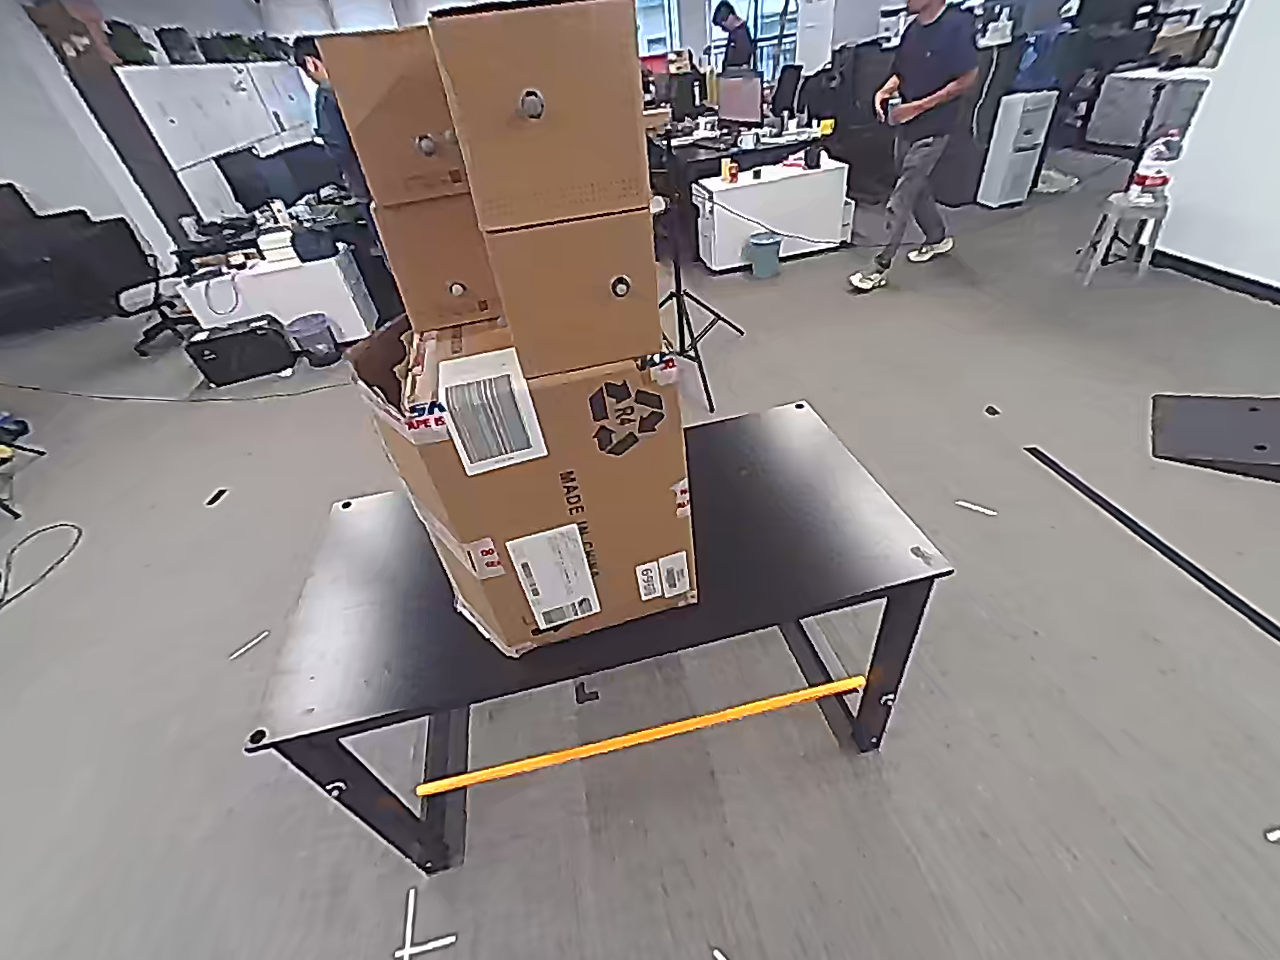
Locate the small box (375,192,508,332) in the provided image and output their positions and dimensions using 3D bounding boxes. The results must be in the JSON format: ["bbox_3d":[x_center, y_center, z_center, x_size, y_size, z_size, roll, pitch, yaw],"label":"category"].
[{"bbox_3d":[-0.274,-0.340,0.813,0.168,0.176,0.179,-15,38,-10],"label":"small box"}]

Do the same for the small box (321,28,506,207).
[{"bbox_3d":[-0.283,-0.467,0.707,0.168,0.176,0.179,-16,38,-11],"label":"small box"}]

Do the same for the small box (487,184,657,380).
[{"bbox_3d":[-0.080,-0.245,0.668,0.179,0.176,0.168,-14,39,-6],"label":"small box"}]
